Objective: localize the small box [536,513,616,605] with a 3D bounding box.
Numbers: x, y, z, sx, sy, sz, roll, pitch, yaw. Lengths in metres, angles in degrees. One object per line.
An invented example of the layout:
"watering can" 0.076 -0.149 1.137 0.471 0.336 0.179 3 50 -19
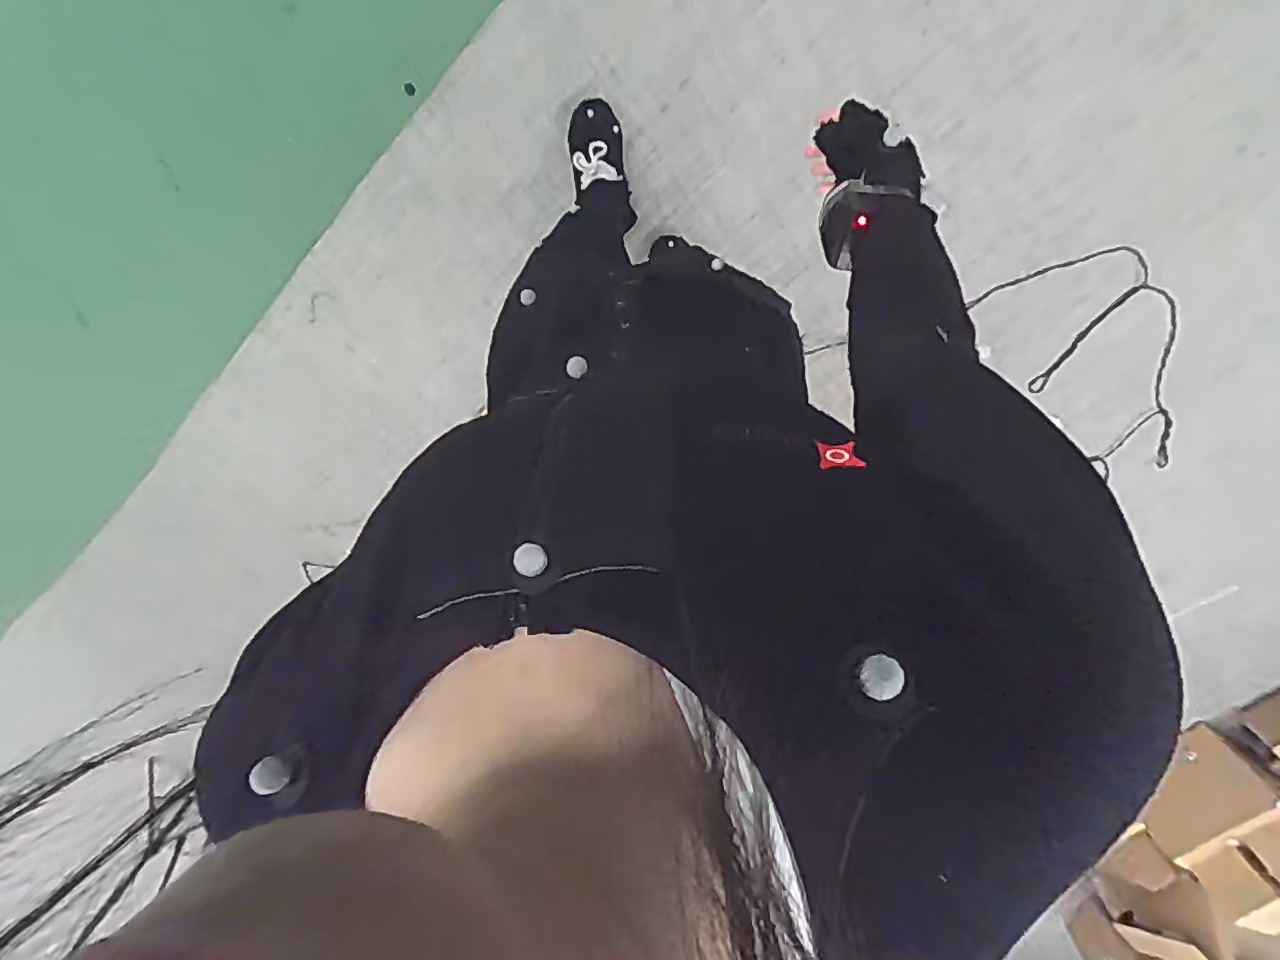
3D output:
"small box" -0.185 0.230 1.614 0.168 0.176 0.179 37 114 -17
